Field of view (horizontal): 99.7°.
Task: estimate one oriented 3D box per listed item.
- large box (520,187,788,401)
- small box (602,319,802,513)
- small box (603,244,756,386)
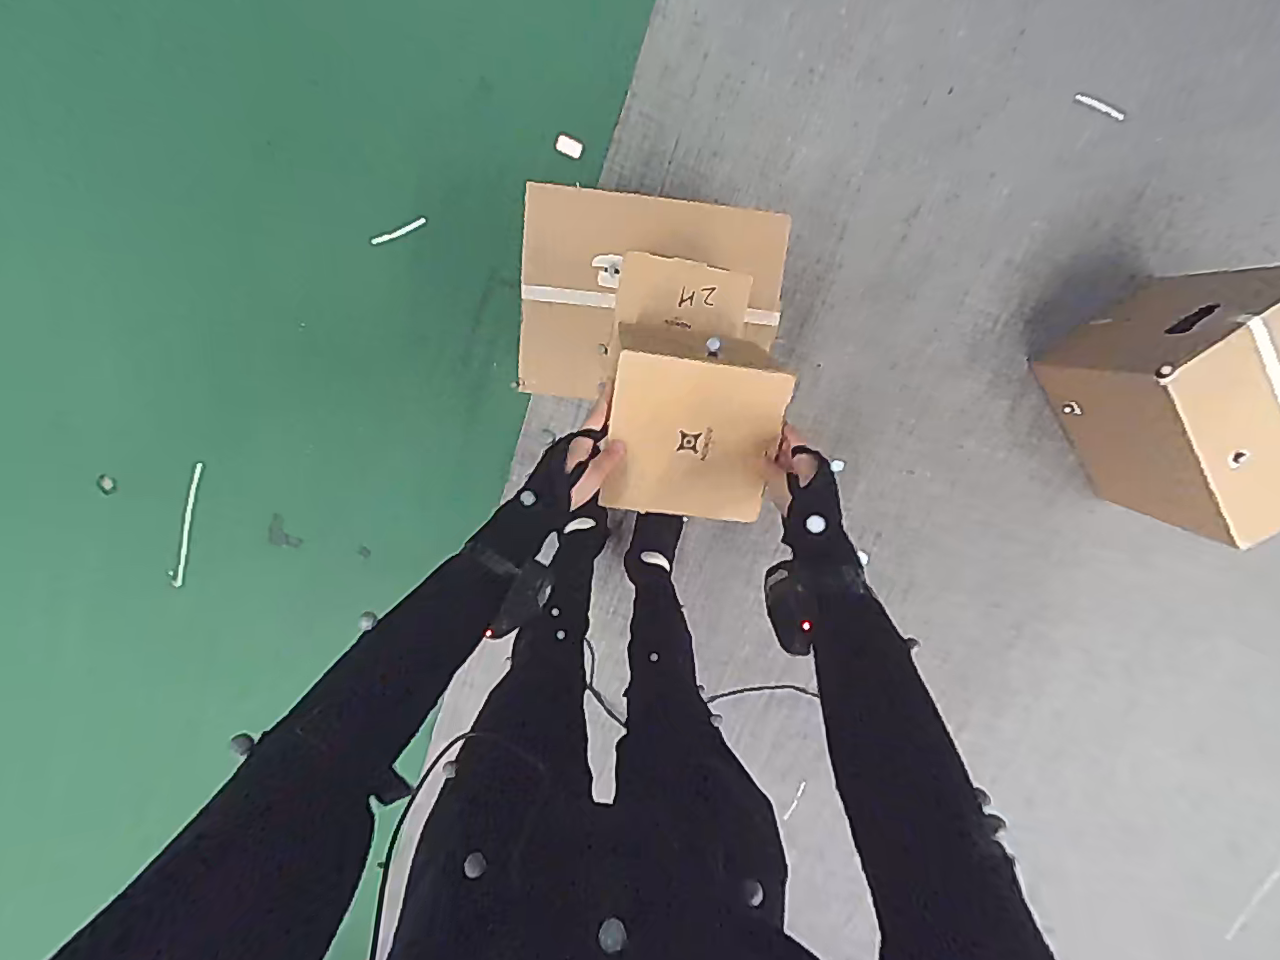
[{"bbox_3d":[0.015,-0.313,0.992,0.408,0.320,0.320,6,104,-2],"label":"large box"},{"bbox_3d":[0.053,-0.080,0.611,0.179,0.176,0.168,6,114,-8],"label":"small box"},{"bbox_3d":[0.045,-0.214,0.763,0.168,0.176,0.179,10,105,-6],"label":"small box"}]
